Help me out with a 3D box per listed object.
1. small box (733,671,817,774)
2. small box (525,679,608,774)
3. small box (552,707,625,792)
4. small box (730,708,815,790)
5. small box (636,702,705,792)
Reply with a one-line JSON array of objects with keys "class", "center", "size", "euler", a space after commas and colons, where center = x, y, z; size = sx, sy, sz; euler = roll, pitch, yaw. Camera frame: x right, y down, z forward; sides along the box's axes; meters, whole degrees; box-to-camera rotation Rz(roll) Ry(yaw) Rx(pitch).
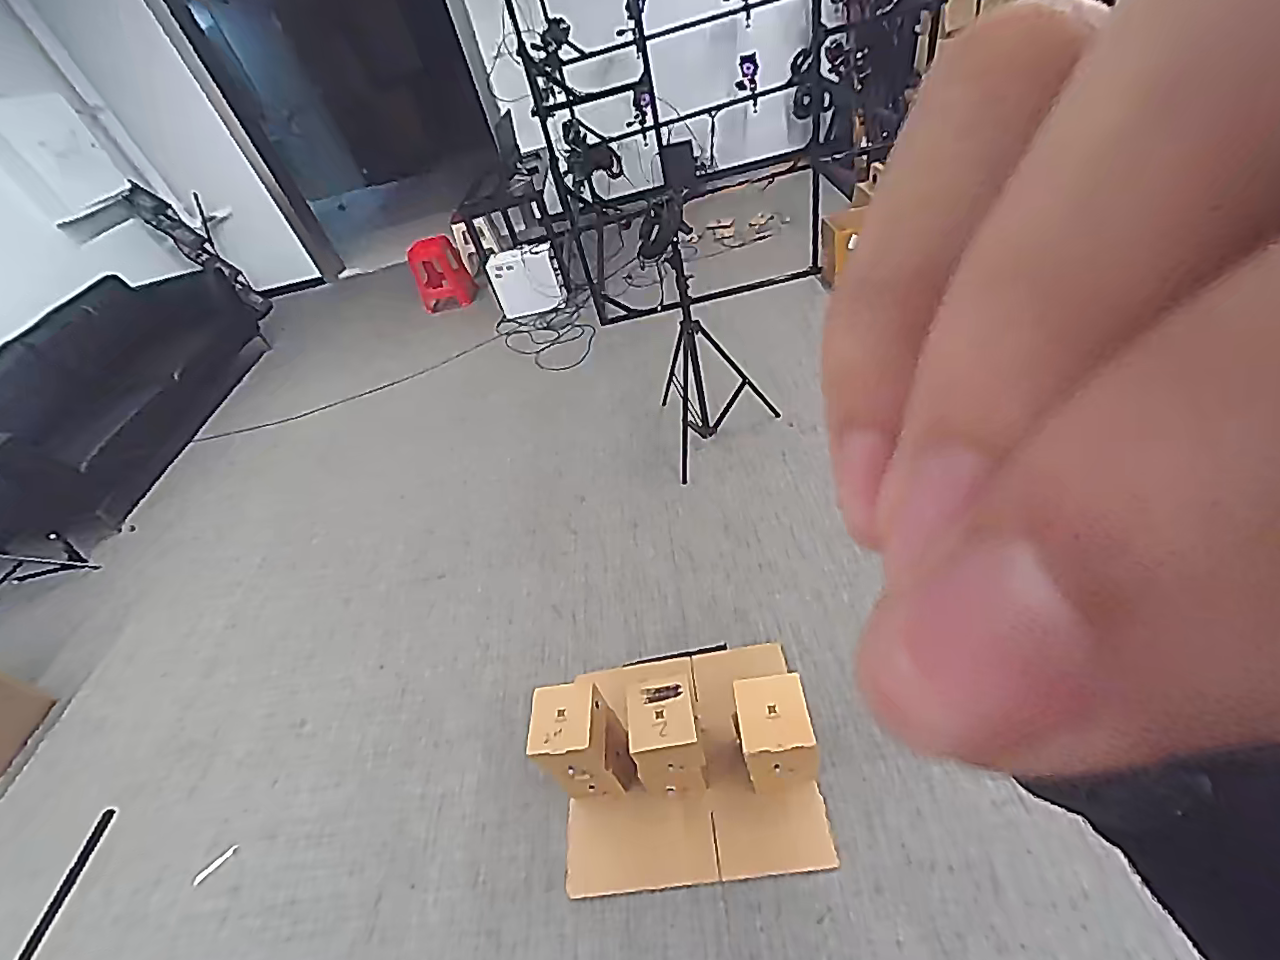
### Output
[{"class": "small box", "center": [0.328, 0.598, 1.330], "size": [0.168, 0.176, 0.179], "euler": [-11, 44, 7]}, {"class": "small box", "center": [-0.186, 0.654, 1.433], "size": [0.168, 0.176, 0.179], "euler": [-10, 44, 9]}, {"class": "small box", "center": [-0.139, 0.773, 1.539], "size": [0.168, 0.176, 0.179], "euler": [-10, 44, 8]}, {"class": "small box", "center": [0.358, 0.704, 1.450], "size": [0.179, 0.176, 0.168], "euler": [-17, 43, 0]}, {"class": "small box", "center": [0.086, 0.742, 1.499], "size": [0.168, 0.176, 0.179], "euler": [-9, 43, 8]}]
